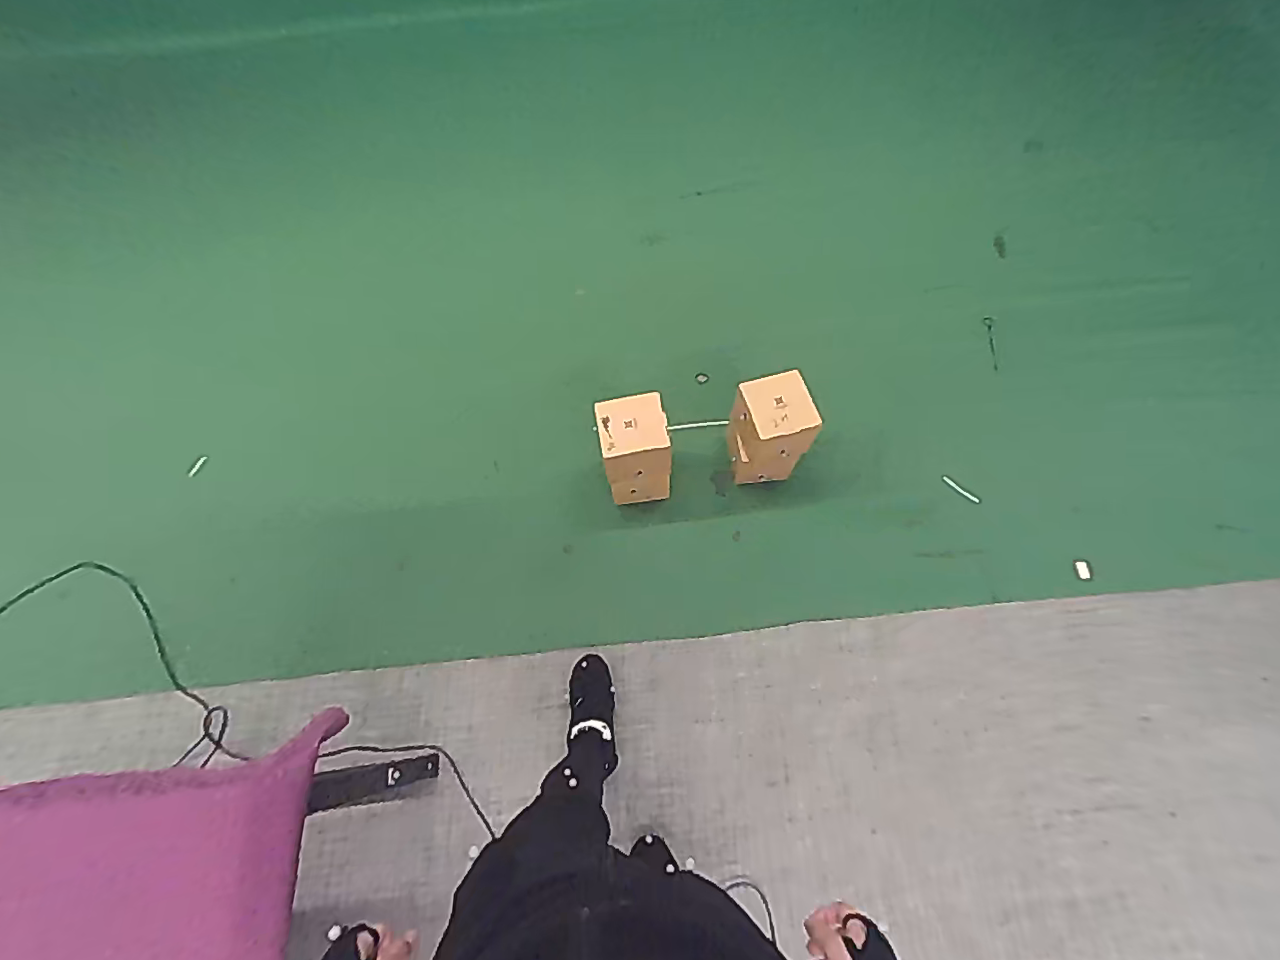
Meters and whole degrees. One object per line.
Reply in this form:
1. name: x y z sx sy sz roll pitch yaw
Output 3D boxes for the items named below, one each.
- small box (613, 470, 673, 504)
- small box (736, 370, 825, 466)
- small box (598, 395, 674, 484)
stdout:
1. small box: 0.004 -0.037 1.599 0.168 0.176 0.179 -8 65 0
2. small box: 0.367 -0.162 1.453 0.168 0.176 0.179 -15 67 -3
3. small box: -0.010 -0.103 1.450 0.179 0.176 0.168 -10 66 -1
